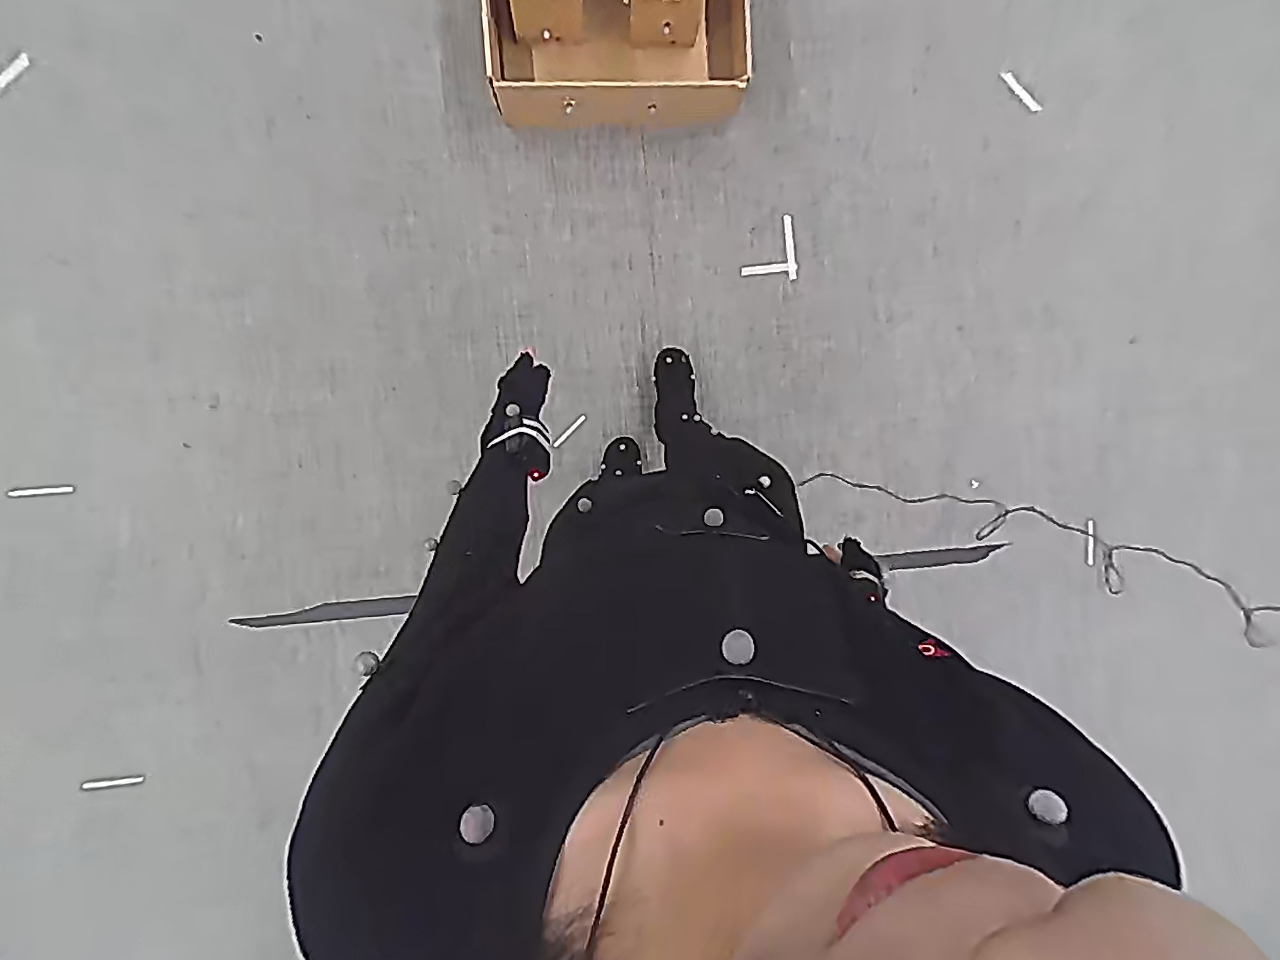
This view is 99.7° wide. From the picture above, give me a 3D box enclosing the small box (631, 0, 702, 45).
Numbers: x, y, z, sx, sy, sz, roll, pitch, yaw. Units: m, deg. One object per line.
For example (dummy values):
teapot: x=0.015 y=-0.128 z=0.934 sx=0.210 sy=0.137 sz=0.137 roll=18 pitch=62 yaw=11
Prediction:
small box: x=0.062 y=-1.184 z=1.293 sx=0.168 sy=0.176 sz=0.179 roll=-2 pitch=97 yaw=-1
